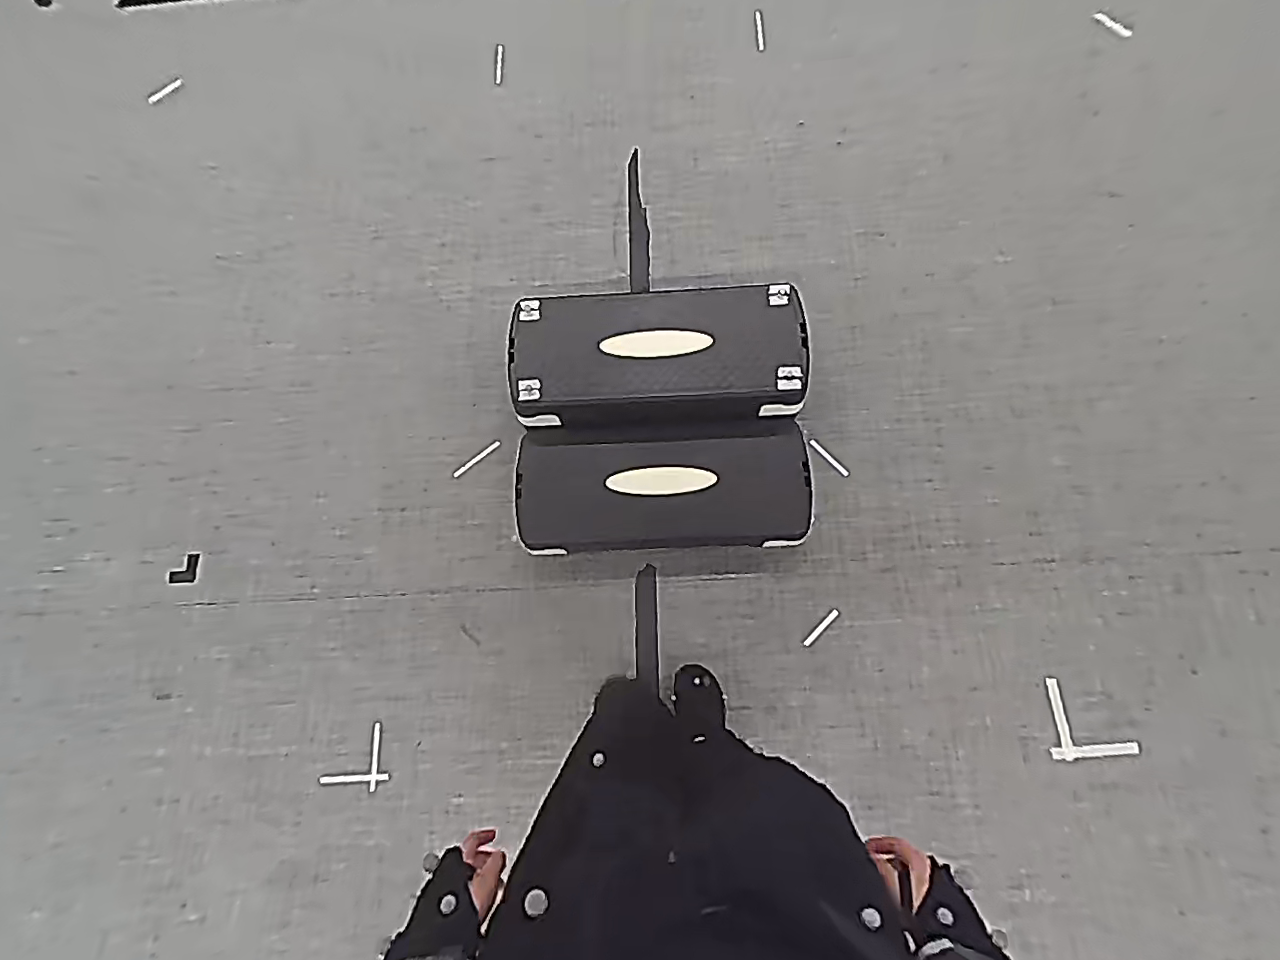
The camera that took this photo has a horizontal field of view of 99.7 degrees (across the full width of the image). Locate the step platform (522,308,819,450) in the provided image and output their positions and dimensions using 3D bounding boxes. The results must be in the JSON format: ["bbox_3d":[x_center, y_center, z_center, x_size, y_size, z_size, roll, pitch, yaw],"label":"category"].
[{"bbox_3d":[0.067,-0.241,1.287,0.684,0.204,0.286,2,74,3],"label":"step platform"}]
